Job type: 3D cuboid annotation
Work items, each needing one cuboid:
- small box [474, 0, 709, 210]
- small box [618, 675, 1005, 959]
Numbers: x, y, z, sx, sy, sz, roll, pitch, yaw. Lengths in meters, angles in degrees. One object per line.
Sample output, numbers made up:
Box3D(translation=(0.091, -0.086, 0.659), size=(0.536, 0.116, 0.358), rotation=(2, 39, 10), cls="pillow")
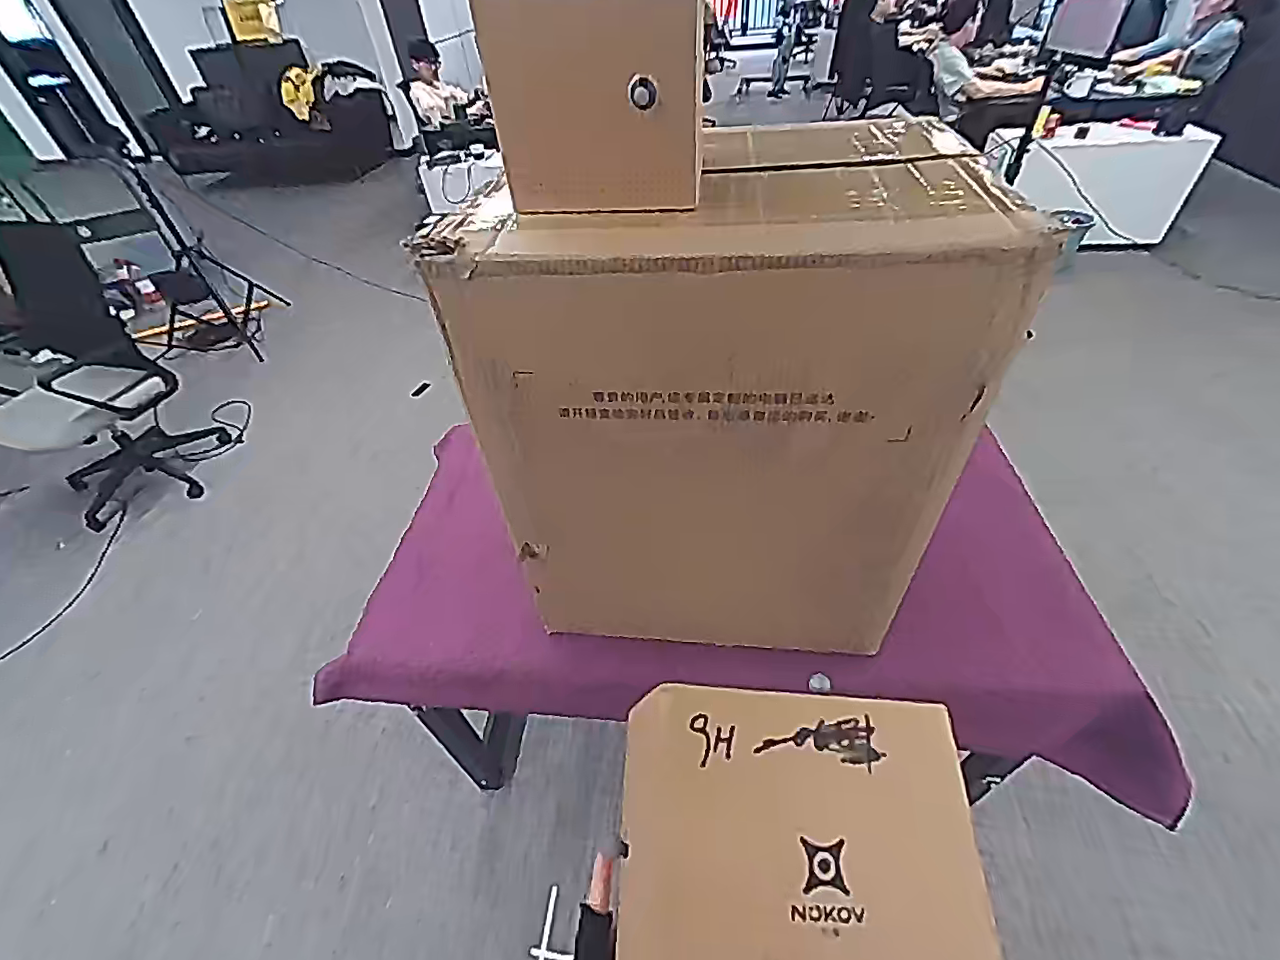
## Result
Box3D(translation=(-0.027, -0.365, 0.500), size=(0.179, 0.176, 0.168), rotation=(1, 44, 7), cls="small box")
Box3D(translation=(0.078, 0.225, 0.325), size=(0.168, 0.176, 0.179), rotation=(6, 61, -5), cls="small box")
